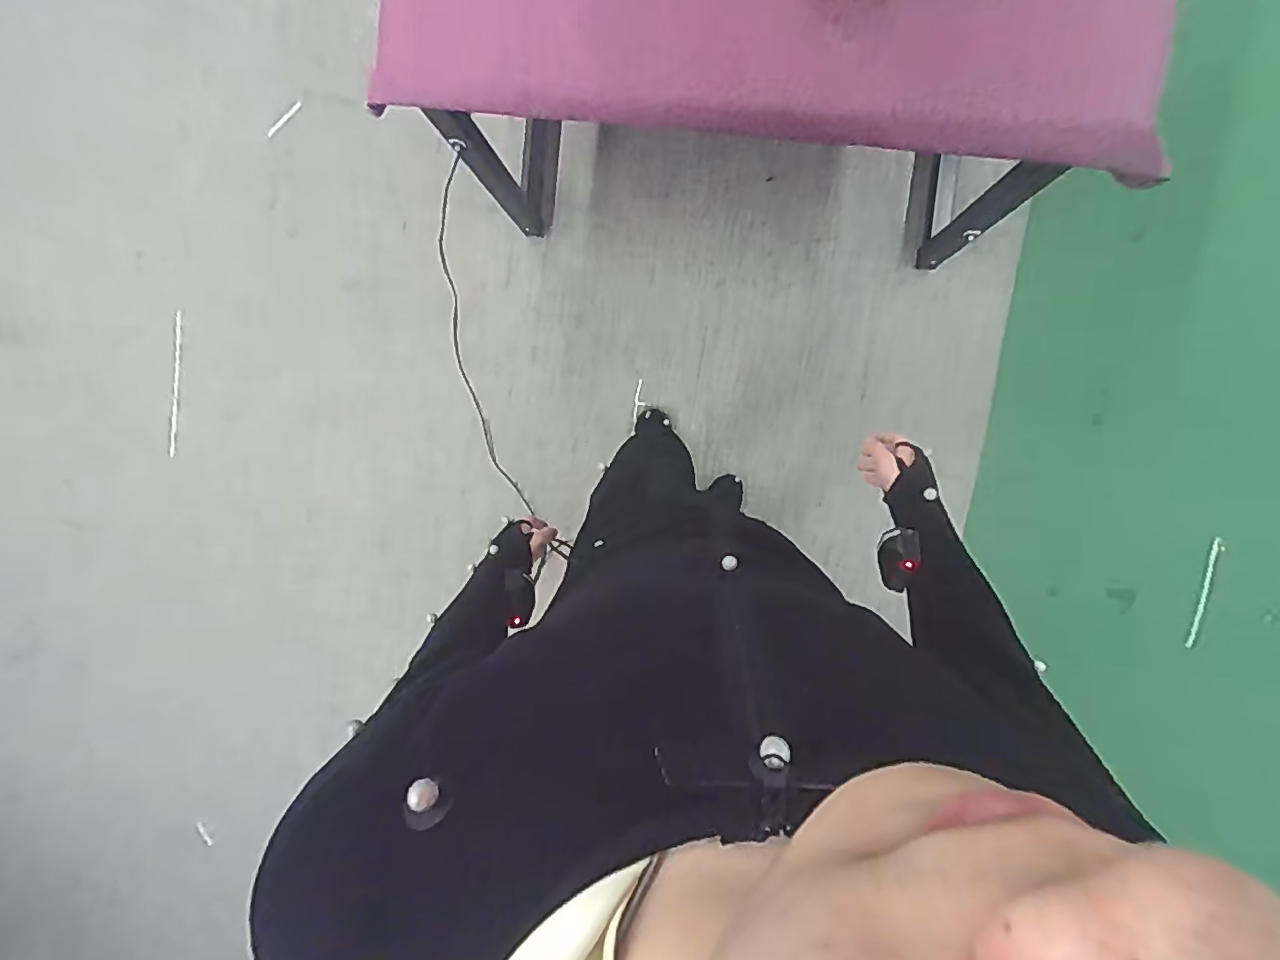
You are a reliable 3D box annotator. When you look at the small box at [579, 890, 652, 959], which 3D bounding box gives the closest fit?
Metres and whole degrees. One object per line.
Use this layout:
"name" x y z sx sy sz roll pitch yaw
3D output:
"small box" -0.070 1.247 1.426 0.168 0.176 0.179 14 96 5
